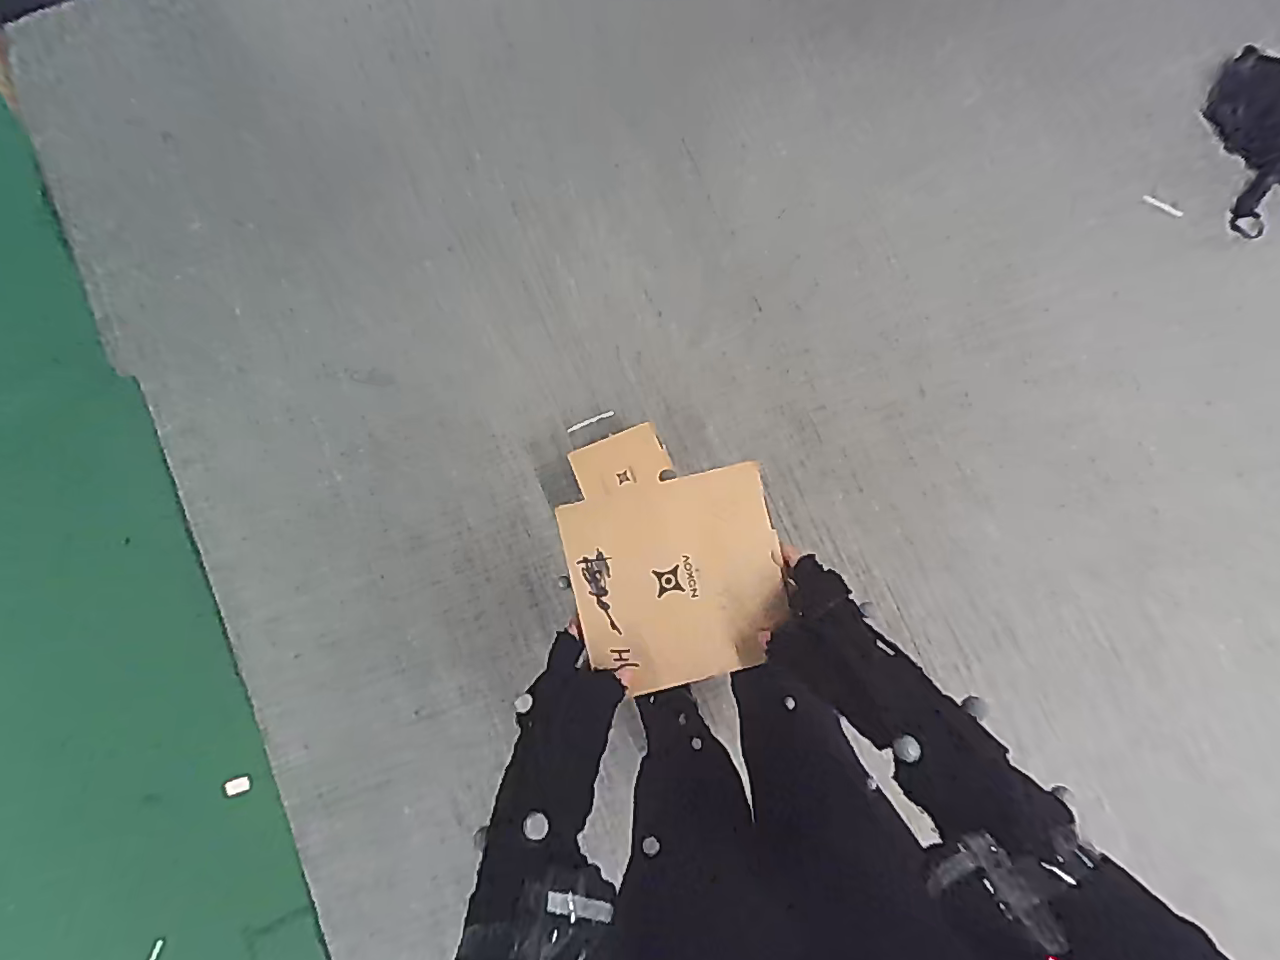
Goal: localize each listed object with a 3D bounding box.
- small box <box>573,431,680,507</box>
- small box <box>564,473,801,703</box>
[{"bbox_3d":[-0.019,0.018,1.101,0.179,0.176,0.168,-23,83,-1],"label":"small box"},{"bbox_3d":[0.032,0.094,0.537,0.179,0.176,0.168,-13,86,-3],"label":"small box"}]
